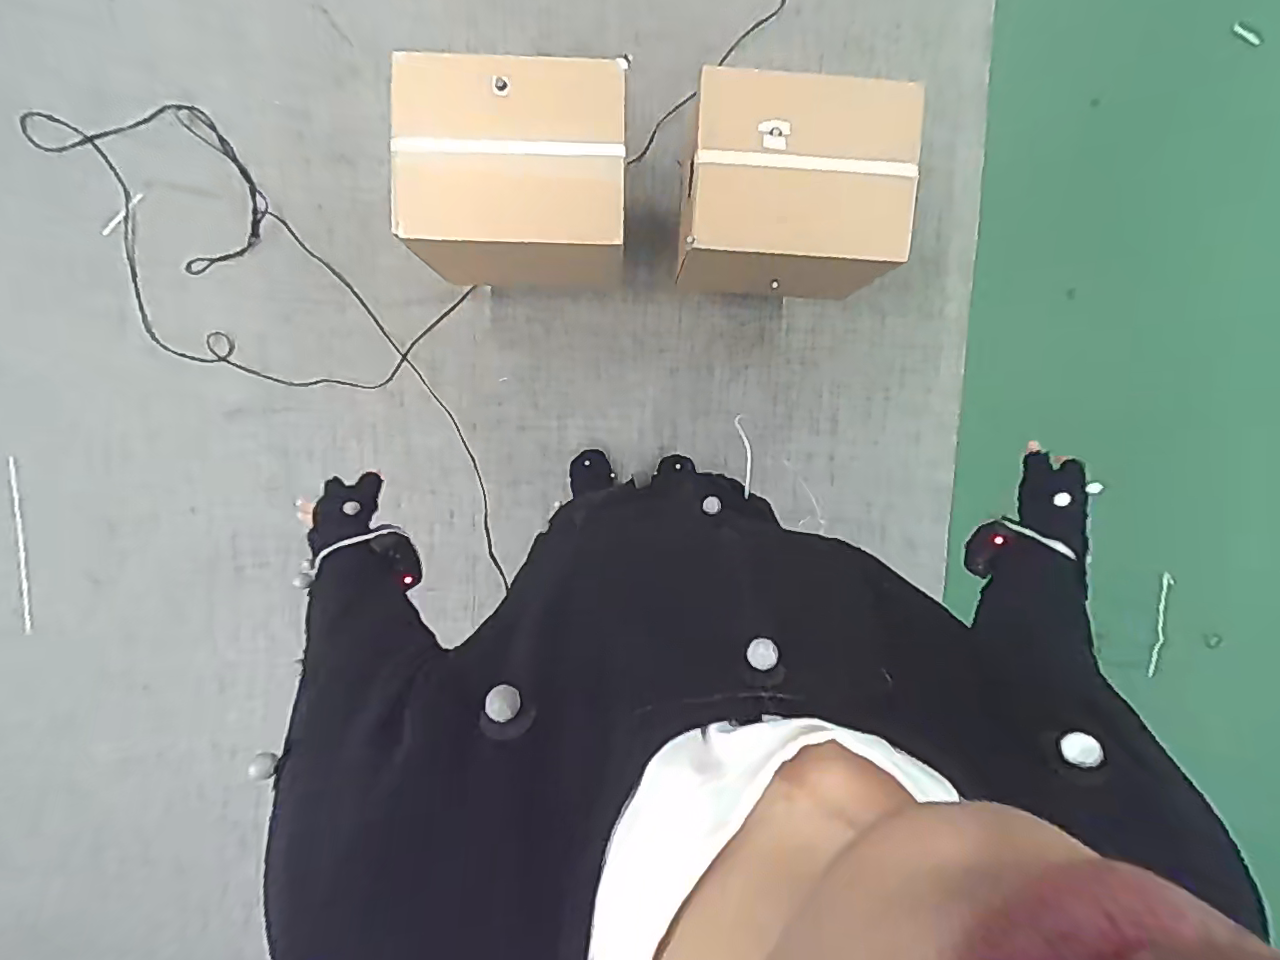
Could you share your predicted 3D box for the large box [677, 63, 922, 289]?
[{"bbox_3d":[0.300,-0.597,1.128,0.408,0.320,0.320,3,96,-2],"label":"large box"}]
